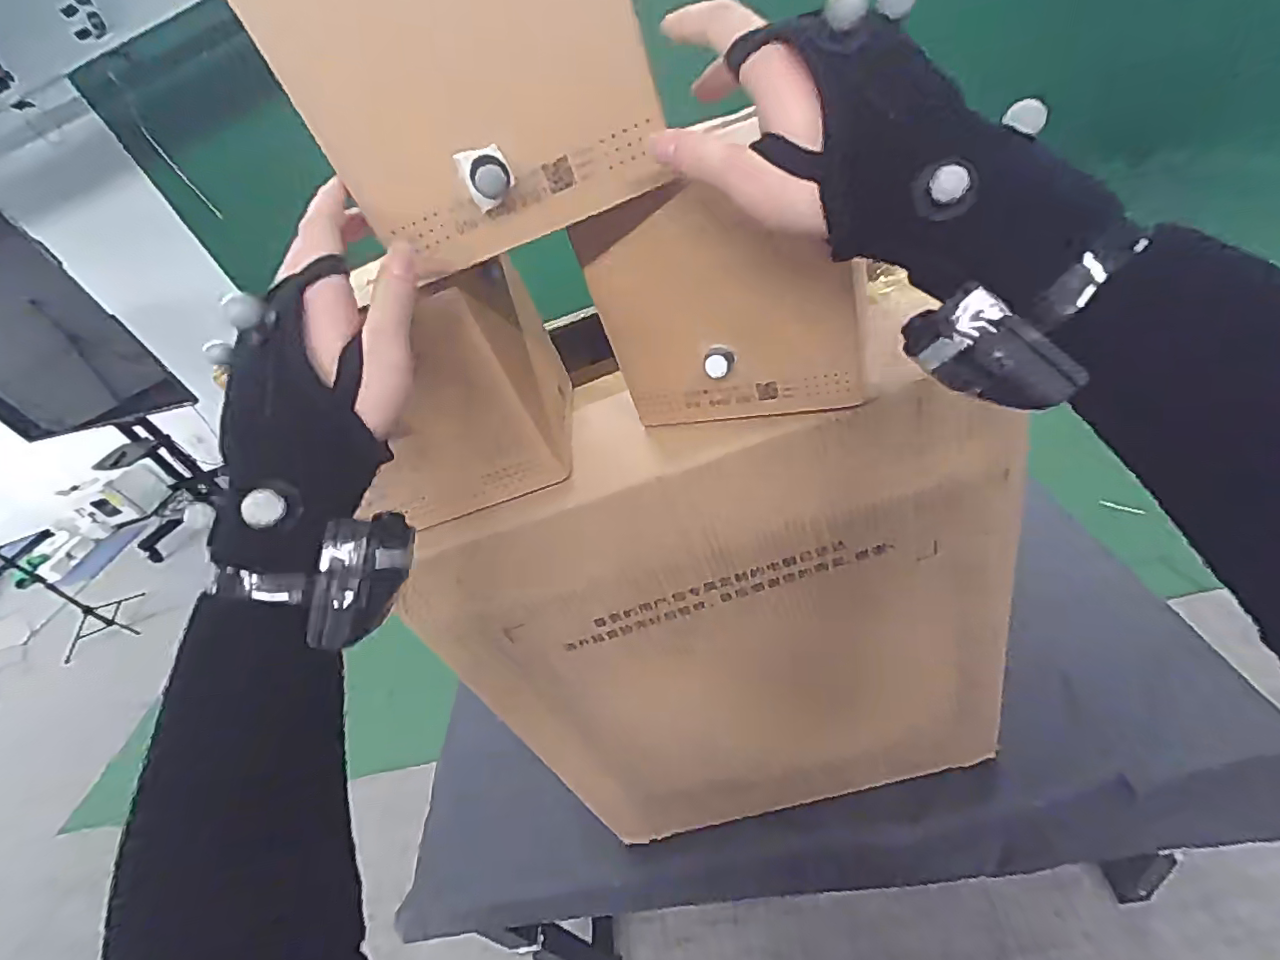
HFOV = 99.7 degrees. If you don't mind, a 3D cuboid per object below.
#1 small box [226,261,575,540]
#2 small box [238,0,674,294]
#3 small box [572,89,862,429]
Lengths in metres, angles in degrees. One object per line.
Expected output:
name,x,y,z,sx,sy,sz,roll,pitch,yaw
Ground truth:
small box,-0.170,-0.076,0.450,0.179,0.176,0.168,-20,37,8
small box,-0.092,-0.238,0.330,0.168,0.176,0.179,-22,37,6
small box,0.072,-0.159,0.412,0.168,0.176,0.179,-4,41,26
